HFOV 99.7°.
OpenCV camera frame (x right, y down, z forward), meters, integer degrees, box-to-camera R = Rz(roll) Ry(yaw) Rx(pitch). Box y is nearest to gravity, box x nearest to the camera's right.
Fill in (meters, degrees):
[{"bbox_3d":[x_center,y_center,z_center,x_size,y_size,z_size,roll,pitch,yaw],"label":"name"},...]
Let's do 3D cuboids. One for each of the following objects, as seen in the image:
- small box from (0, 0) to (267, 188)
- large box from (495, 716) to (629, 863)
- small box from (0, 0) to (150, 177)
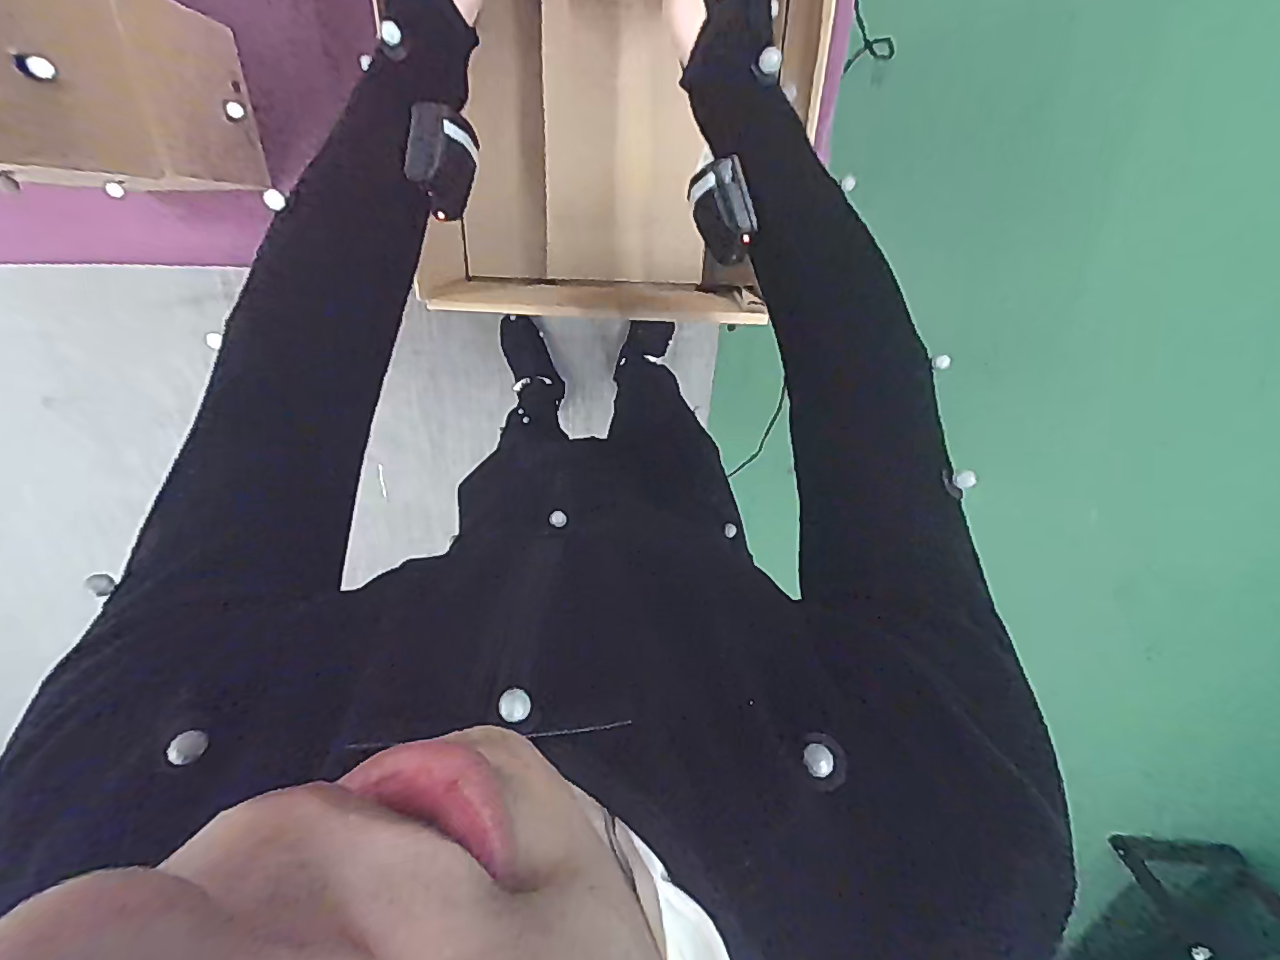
[{"bbox_3d":[-0.554,-0.410,0.577,0.179,0.176,0.168,-1,115,0],"label":"small box"},{"bbox_3d":[-0.288,1.201,2.111,0.408,0.320,0.320,-26,114,12],"label":"large box"},{"bbox_3d":[-0.555,-0.344,0.427,0.168,0.176,0.179,1,116,-1],"label":"small box"}]
